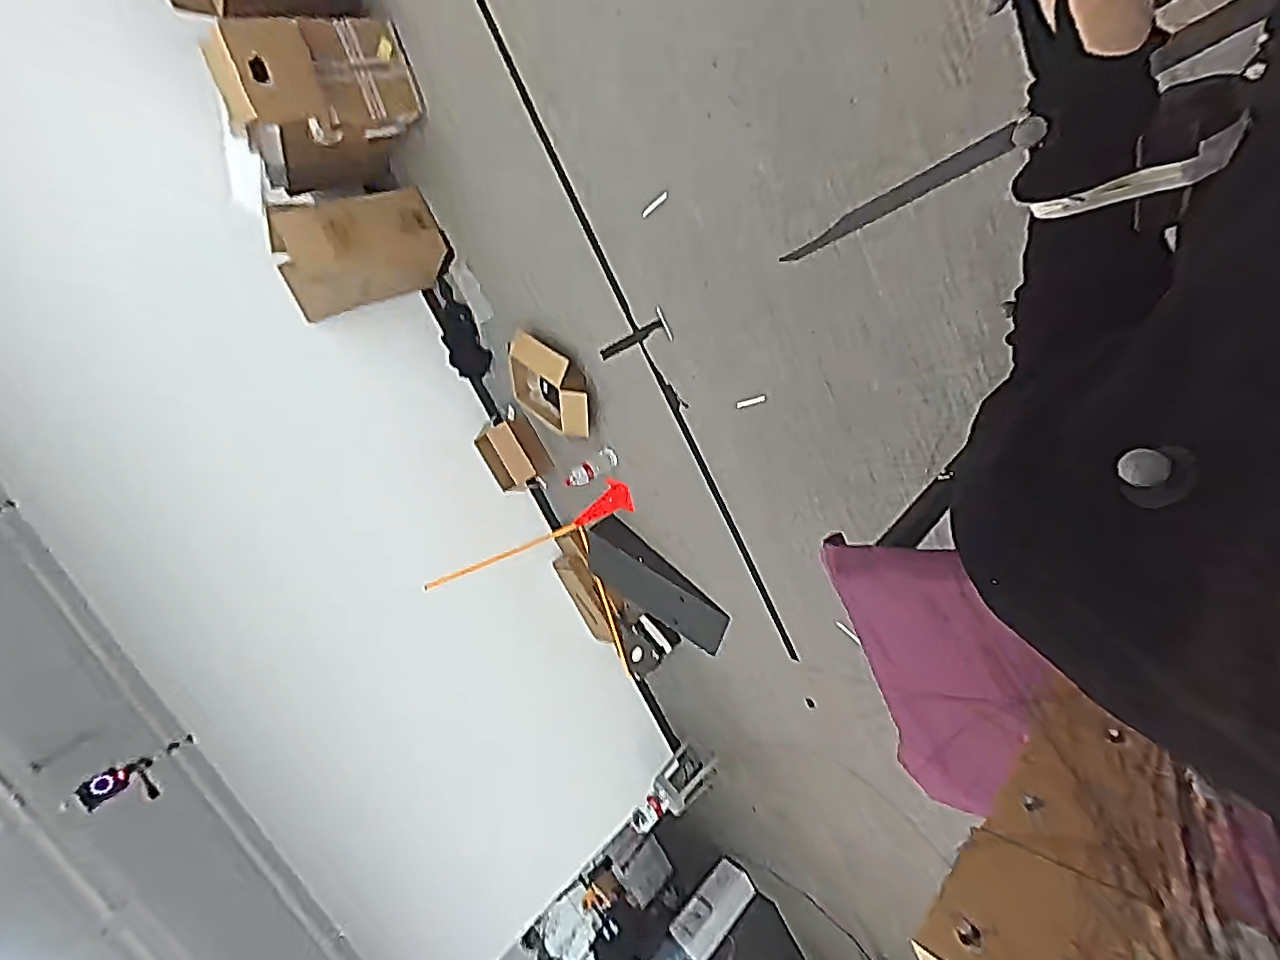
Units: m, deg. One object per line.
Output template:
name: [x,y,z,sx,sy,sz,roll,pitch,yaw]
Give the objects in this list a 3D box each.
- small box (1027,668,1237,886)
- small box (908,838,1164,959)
small box: [0.682,0.389,0.748,0.179,0.176,0.168,-5,113,57]
small box: [0.436,0.541,0.589,0.179,0.176,0.168,-6,113,56]
